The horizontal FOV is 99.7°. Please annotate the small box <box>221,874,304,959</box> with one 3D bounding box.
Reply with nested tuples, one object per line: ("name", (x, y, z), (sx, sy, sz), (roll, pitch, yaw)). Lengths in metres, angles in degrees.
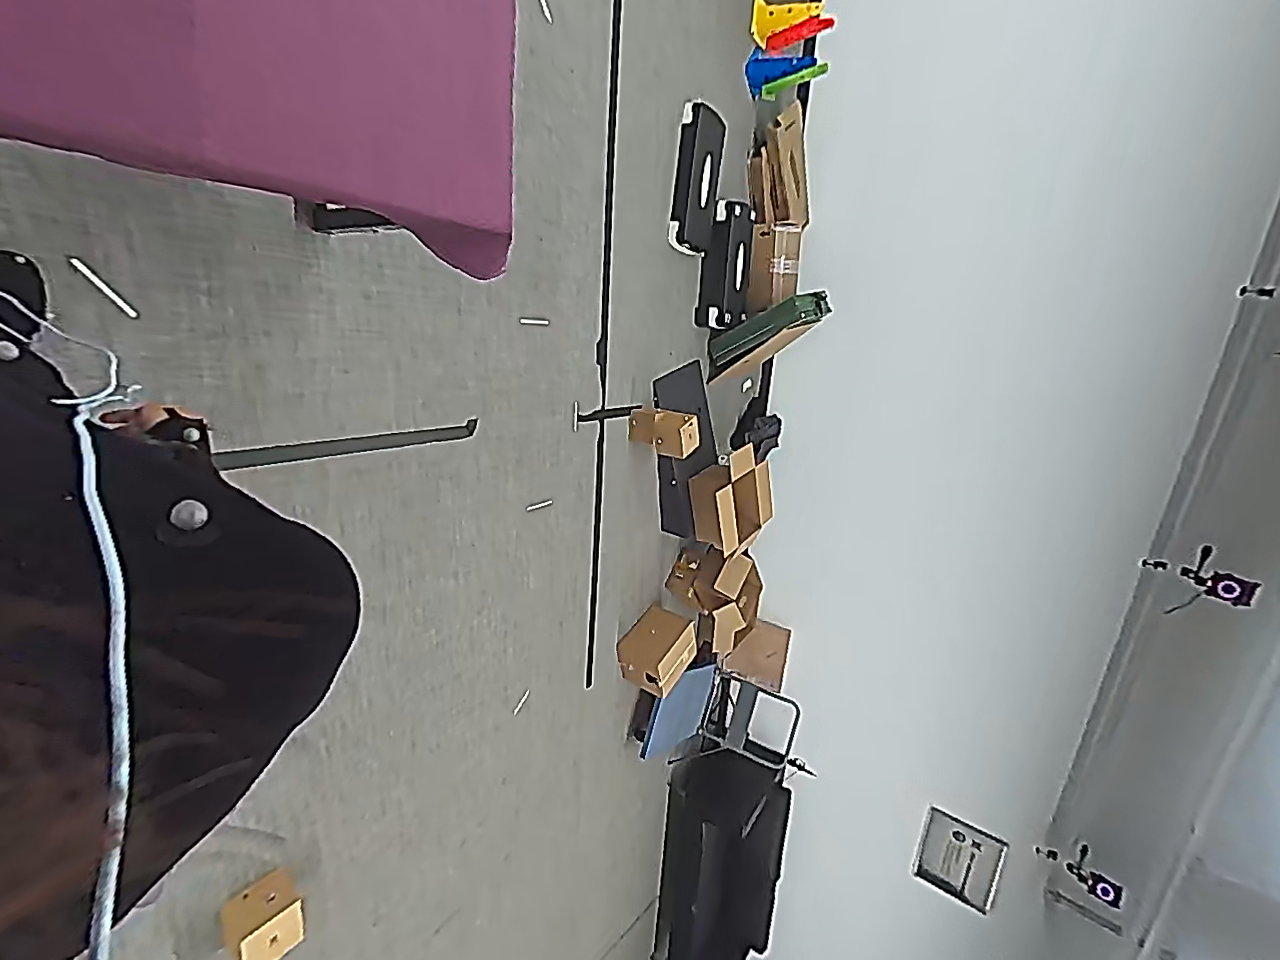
("small box", (-1.198, 1.403, 1.715), (0.168, 0.176, 0.179), (-17, 117, -54))
